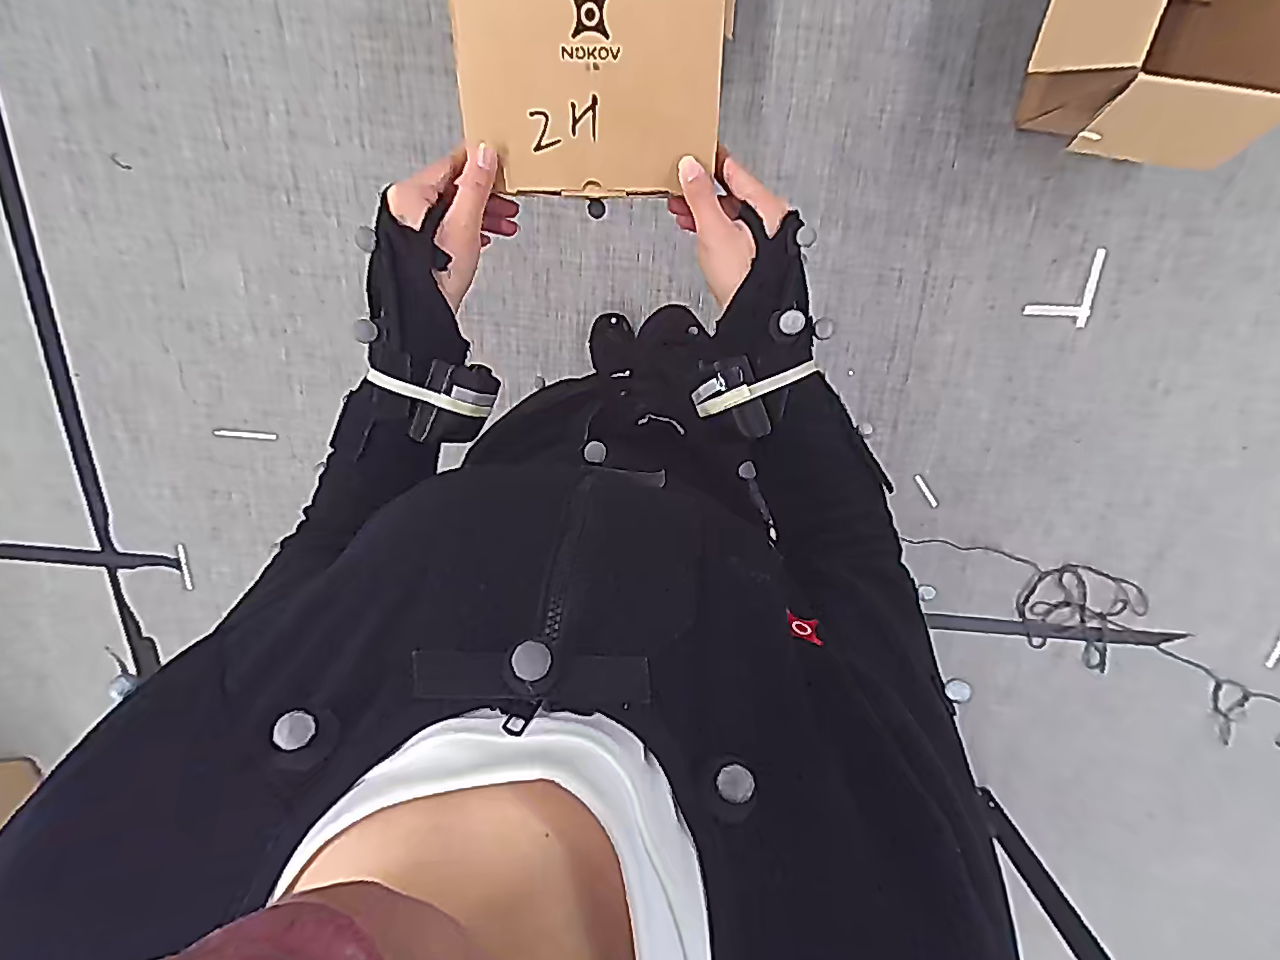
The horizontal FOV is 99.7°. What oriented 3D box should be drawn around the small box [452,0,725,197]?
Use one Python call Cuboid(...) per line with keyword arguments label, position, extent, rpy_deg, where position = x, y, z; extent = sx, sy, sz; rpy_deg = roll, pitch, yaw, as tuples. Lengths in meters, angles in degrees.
Cuboid(label="small box", position=(-0.034, -0.311, 0.398), extent=(0.168, 0.176, 0.179), rpy_deg=(0, 117, -2))
